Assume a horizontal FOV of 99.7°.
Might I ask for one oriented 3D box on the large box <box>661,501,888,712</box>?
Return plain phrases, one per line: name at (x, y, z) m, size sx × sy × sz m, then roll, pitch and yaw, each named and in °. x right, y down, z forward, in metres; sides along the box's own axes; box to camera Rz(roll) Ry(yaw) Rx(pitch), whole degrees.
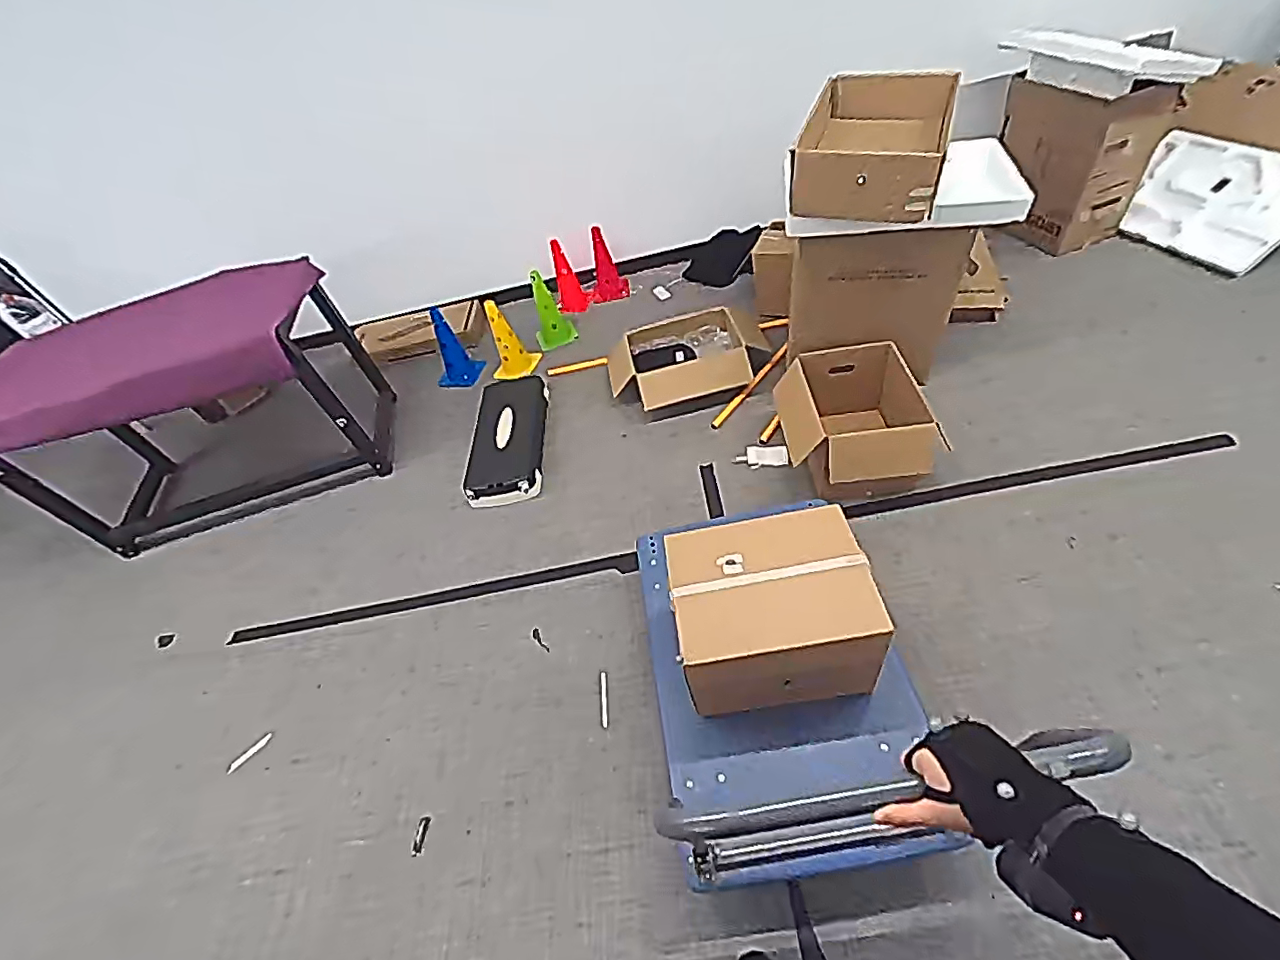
large box at (0.287, 0.295, 1.228) m, size 0.408 × 0.320 × 0.320 m, roll -12°, pitch 47°, yaw 5°
